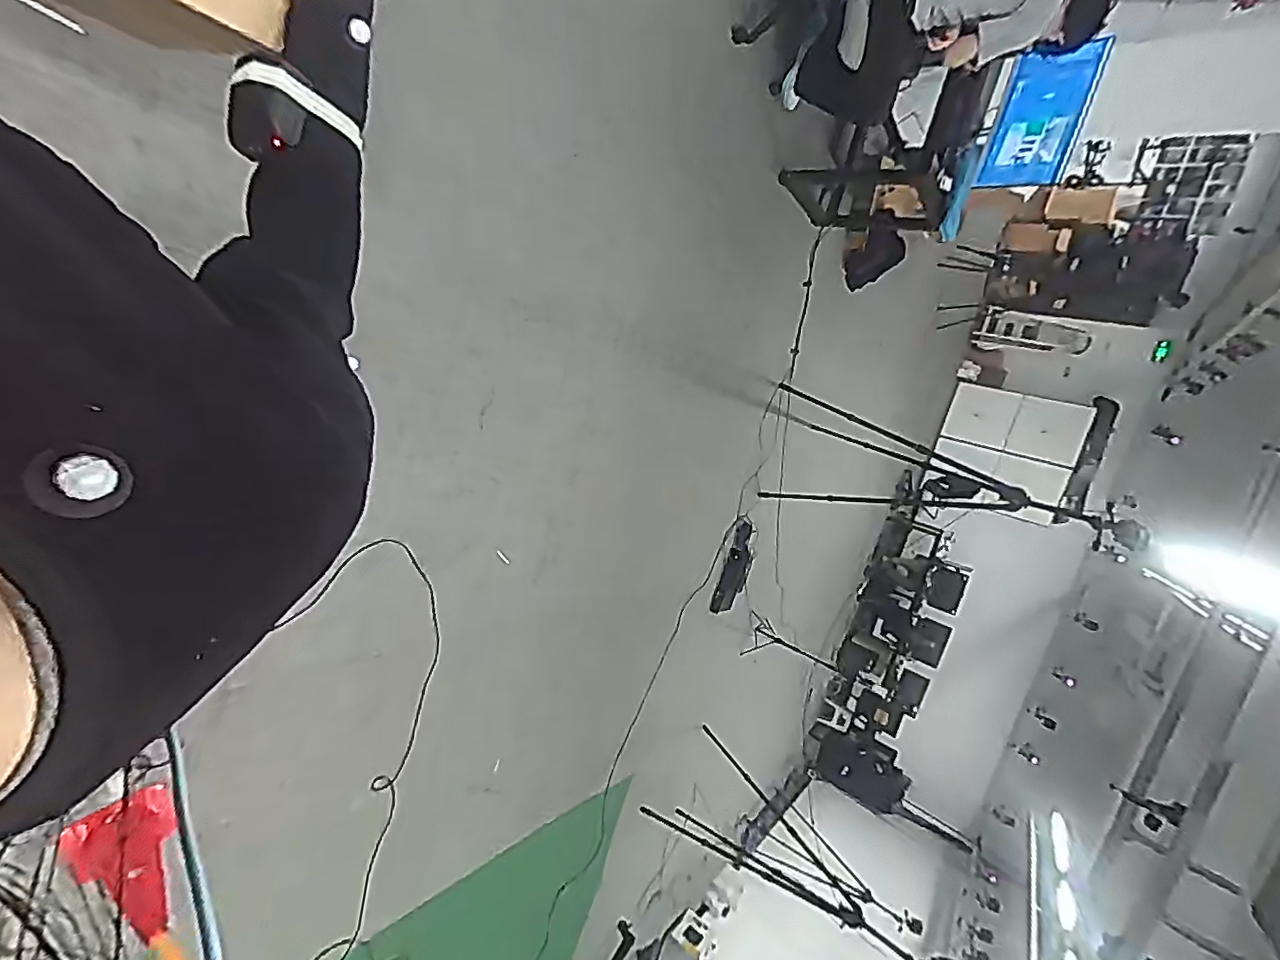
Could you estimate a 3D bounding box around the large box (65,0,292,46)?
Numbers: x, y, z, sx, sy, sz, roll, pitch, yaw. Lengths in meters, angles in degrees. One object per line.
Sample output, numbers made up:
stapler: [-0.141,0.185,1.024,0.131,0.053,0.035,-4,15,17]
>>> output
large box: [-0.474,-0.537,0.318,0.408,0.320,0.320,-7,119,-54]
